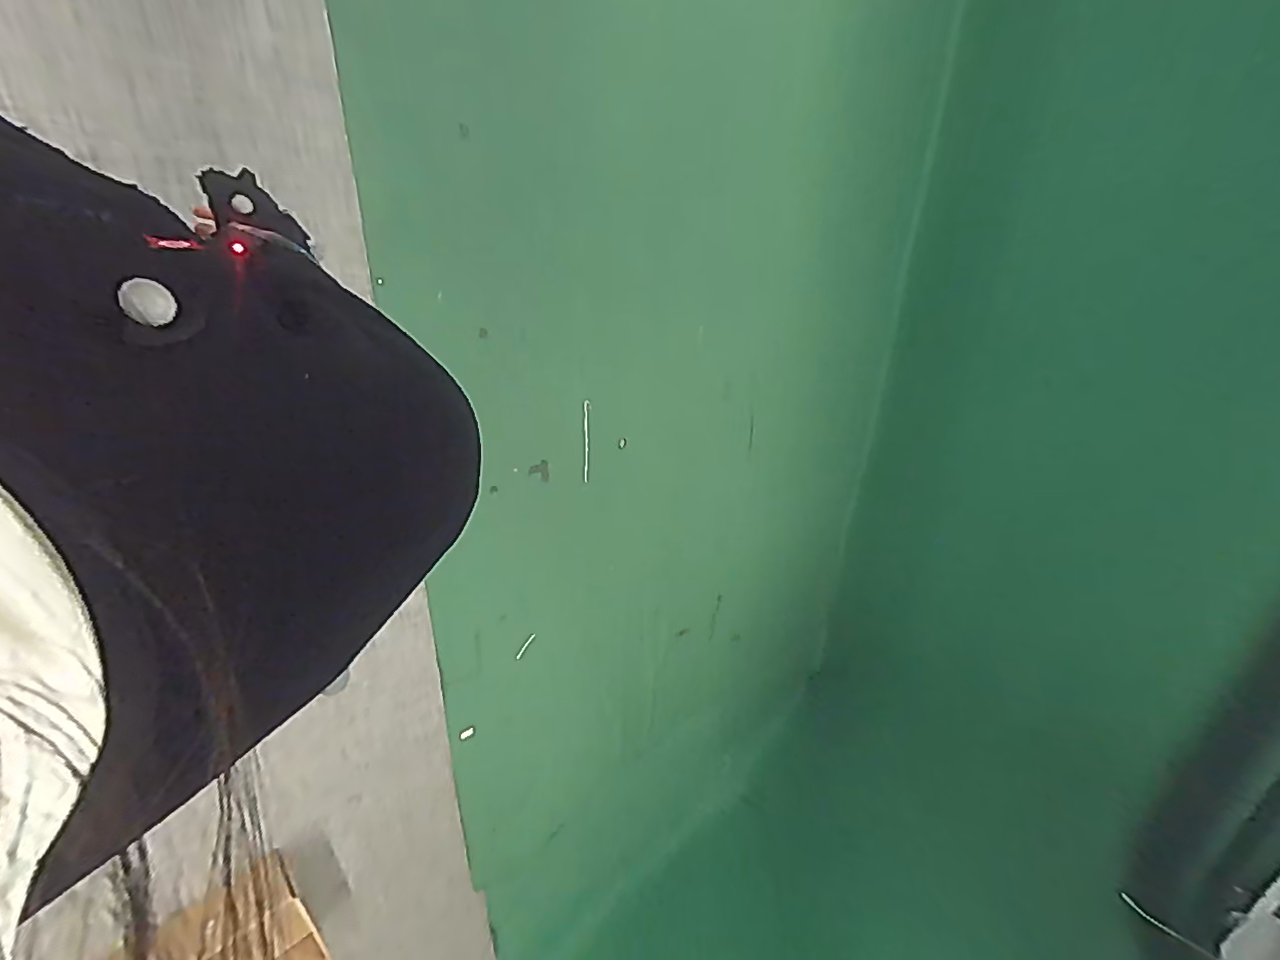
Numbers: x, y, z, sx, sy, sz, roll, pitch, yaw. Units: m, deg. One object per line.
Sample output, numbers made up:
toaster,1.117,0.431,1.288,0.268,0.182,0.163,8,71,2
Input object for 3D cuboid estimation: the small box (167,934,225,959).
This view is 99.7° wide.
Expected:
small box,-1.218,1.388,1.444,0.179,0.176,0.168,-26,127,-40
